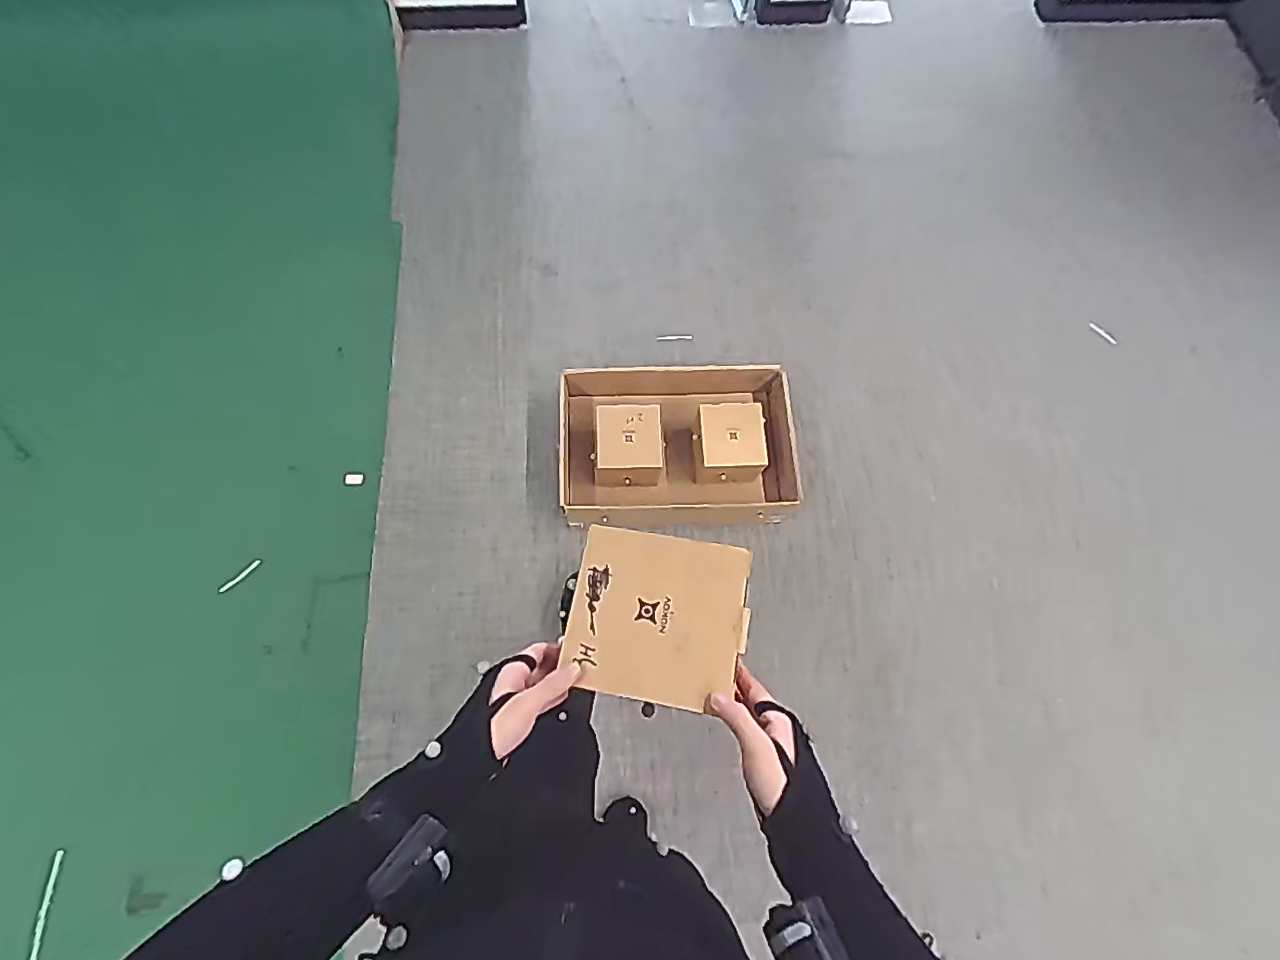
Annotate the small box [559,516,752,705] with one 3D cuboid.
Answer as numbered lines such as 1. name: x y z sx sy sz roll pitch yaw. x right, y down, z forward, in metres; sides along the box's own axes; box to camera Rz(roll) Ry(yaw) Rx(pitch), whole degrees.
1. small box: 0.023 0.157 0.631 0.179 0.176 0.168 9 68 7

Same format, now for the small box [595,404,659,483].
1. small box: -0.038 -0.093 1.458 0.168 0.176 0.179 -1 73 -4

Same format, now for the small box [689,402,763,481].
1. small box: 0.230 -0.098 1.477 0.168 0.176 0.179 -2 73 -3
